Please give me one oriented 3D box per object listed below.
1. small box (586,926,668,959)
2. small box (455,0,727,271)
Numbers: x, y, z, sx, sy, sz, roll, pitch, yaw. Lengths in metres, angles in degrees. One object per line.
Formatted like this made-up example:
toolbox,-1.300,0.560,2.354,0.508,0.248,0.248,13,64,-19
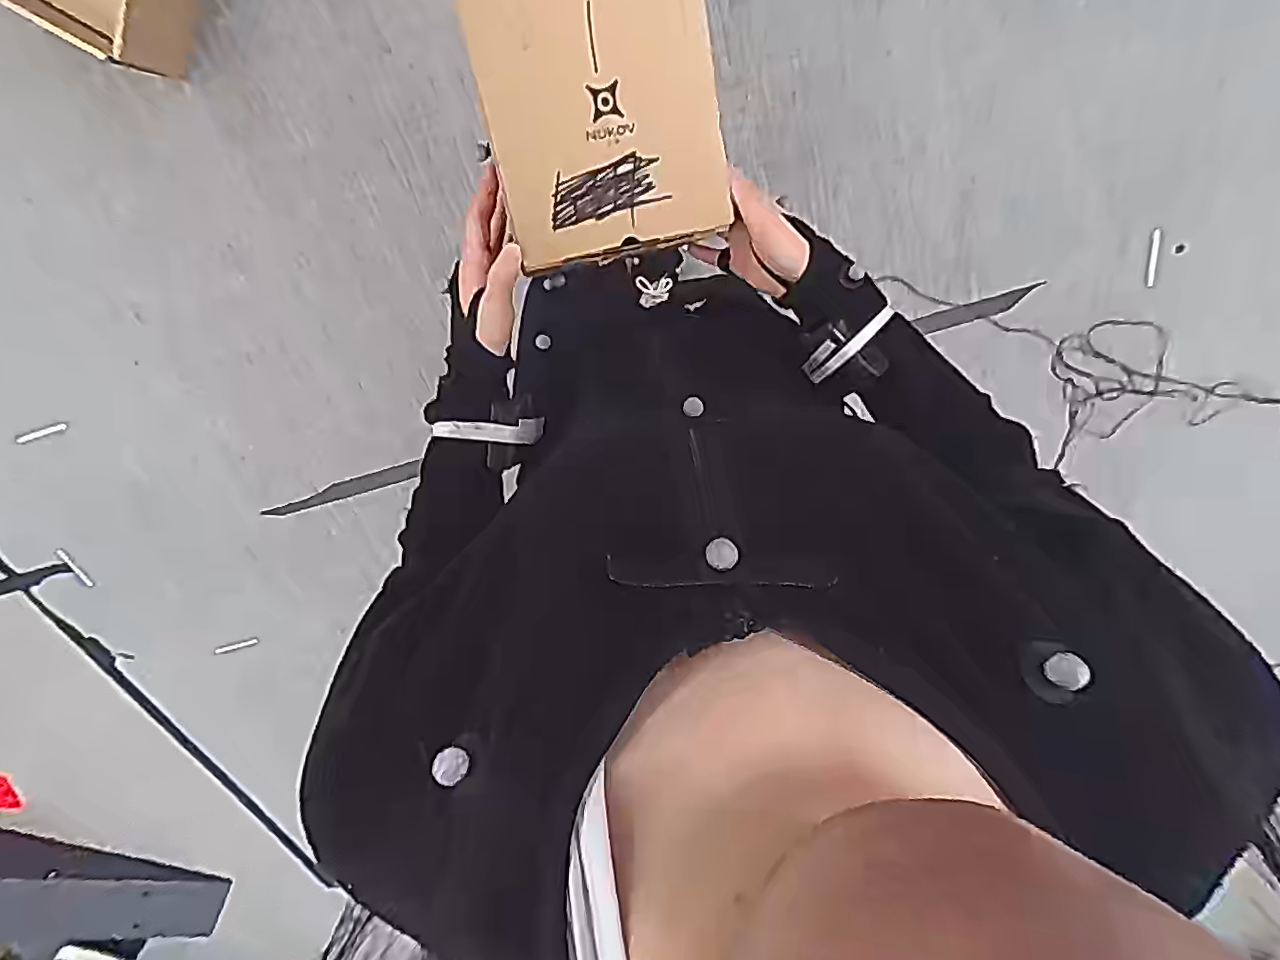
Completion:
small box,-0.024,1.172,1.239,0.168,0.176,0.179,-16,114,4
small box,-0.040,-0.280,0.452,0.168,0.176,0.179,-14,109,-7
